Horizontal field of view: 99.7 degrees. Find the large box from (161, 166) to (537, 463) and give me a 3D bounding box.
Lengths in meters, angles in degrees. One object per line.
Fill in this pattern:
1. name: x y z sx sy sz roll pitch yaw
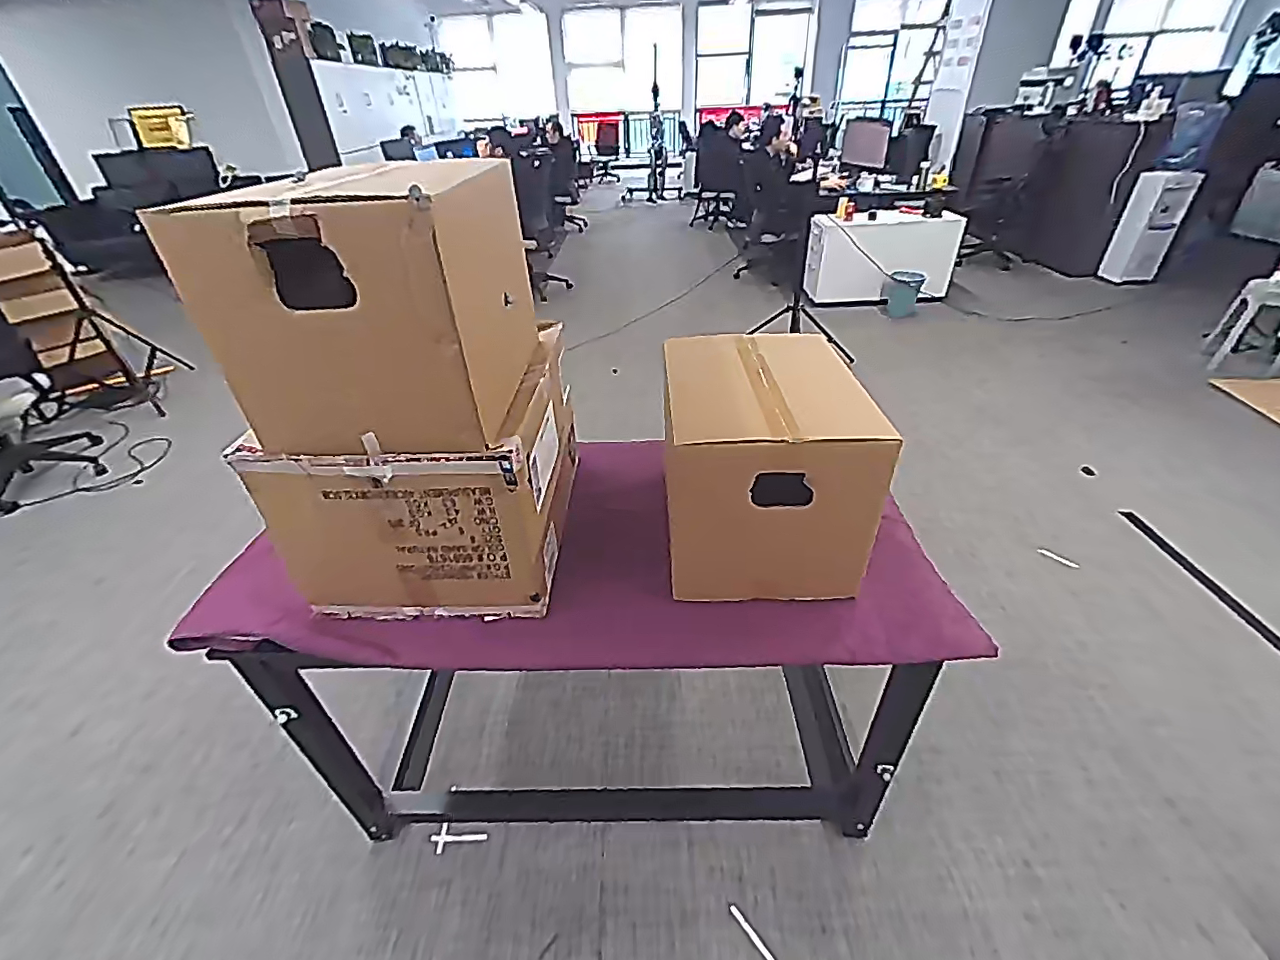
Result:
1. large box: -0.350 -0.266 0.809 0.320 0.320 0.408 -3 35 2
